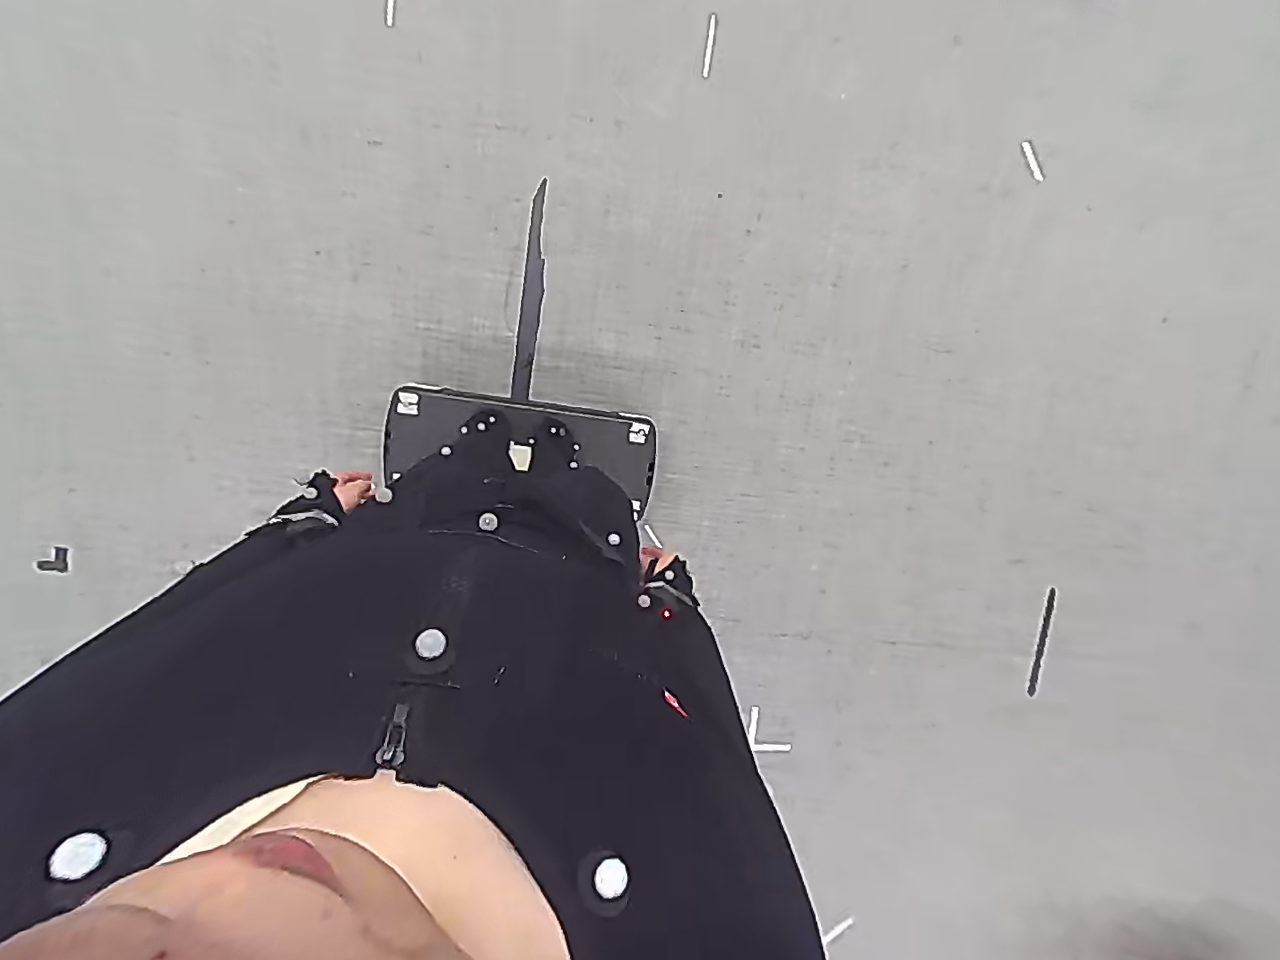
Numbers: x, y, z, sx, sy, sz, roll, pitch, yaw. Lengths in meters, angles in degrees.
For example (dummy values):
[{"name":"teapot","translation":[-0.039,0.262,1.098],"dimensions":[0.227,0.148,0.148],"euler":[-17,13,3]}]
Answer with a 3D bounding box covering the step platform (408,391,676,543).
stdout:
[{"name":"step platform","translation":[-0.249,-0.032,1.443],"dimensions":[0.684,0.204,0.286],"euler":[11,96,-10]}]
